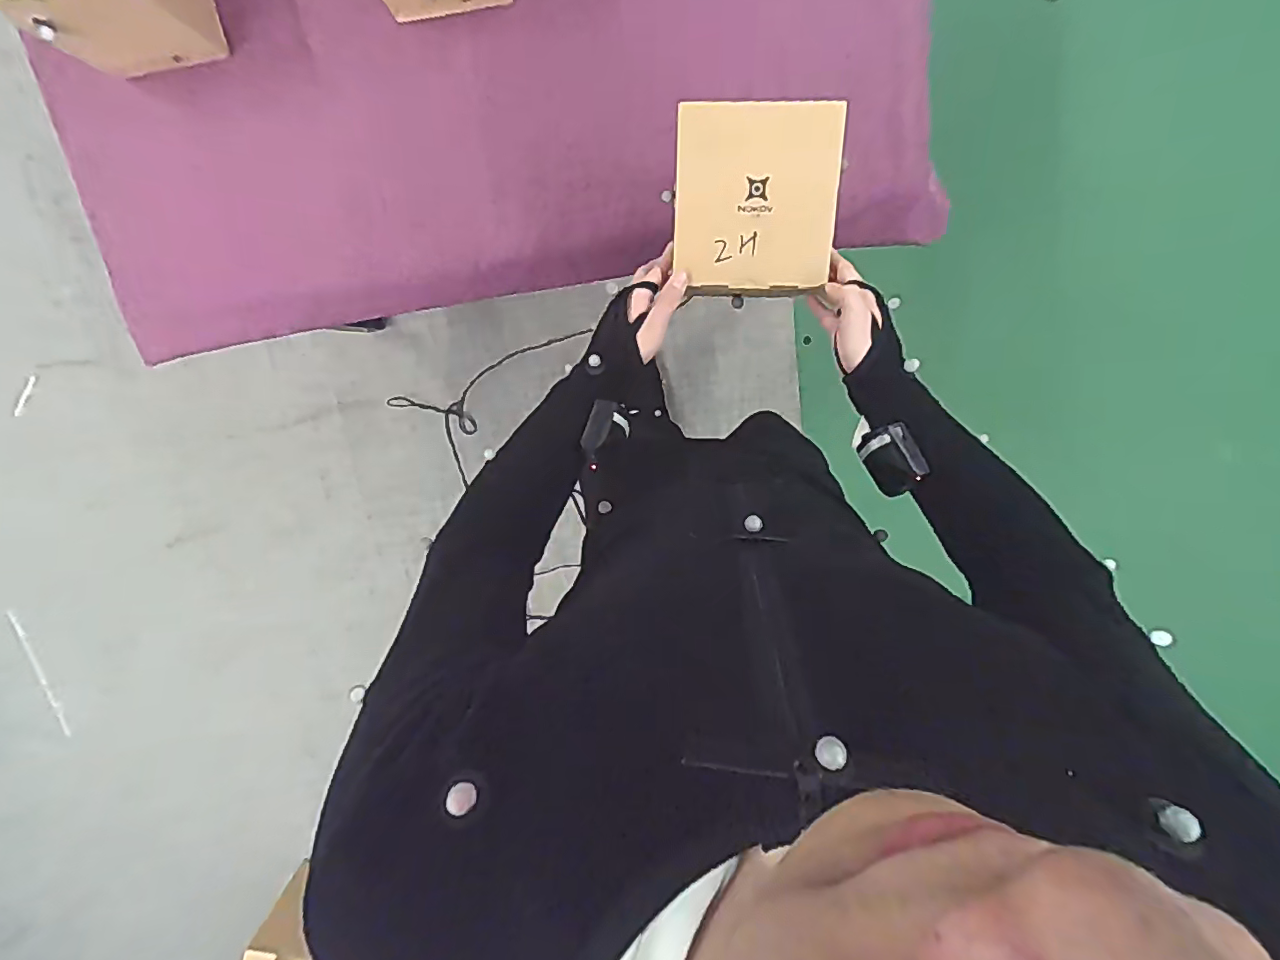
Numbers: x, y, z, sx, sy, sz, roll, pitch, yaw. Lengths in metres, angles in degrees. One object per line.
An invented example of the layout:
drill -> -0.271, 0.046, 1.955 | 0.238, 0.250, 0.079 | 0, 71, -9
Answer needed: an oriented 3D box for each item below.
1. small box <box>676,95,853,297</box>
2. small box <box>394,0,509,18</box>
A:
small box -> 0.128, -0.312, 0.627 | 0.168, 0.176, 0.179 | 3, 106, 4
small box -> -0.256, -0.698, 0.631 | 0.168, 0.176, 0.179 | -9, 104, 1
